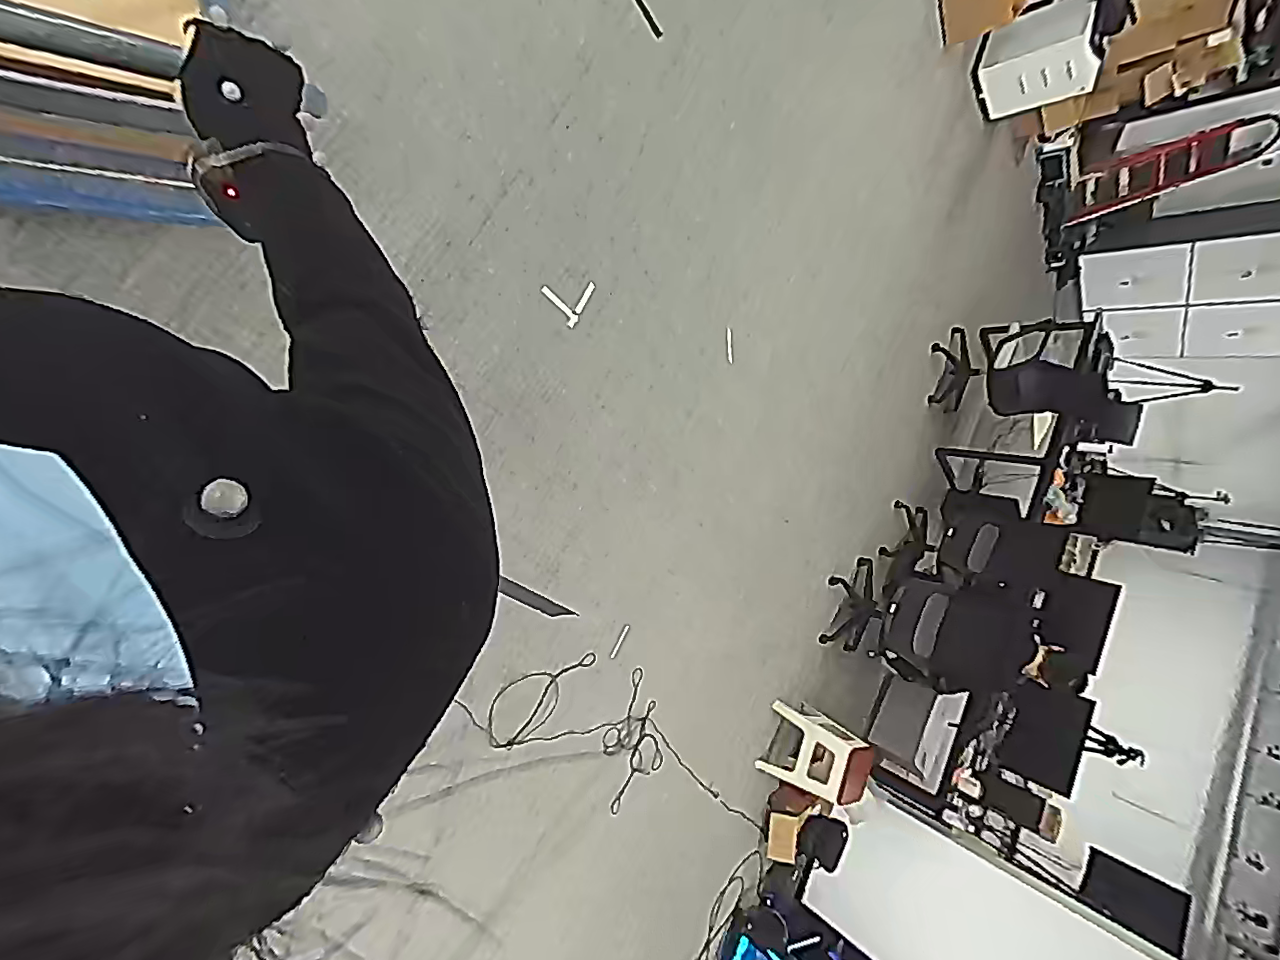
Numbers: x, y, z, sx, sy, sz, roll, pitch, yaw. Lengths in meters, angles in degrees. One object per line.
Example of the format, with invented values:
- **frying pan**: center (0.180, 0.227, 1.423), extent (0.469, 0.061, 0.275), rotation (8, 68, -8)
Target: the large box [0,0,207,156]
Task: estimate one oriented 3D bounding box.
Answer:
- **large box**: center (-0.863, -0.666, 0.700), extent (0.408, 0.320, 0.320), rotation (-14, 109, -42)
